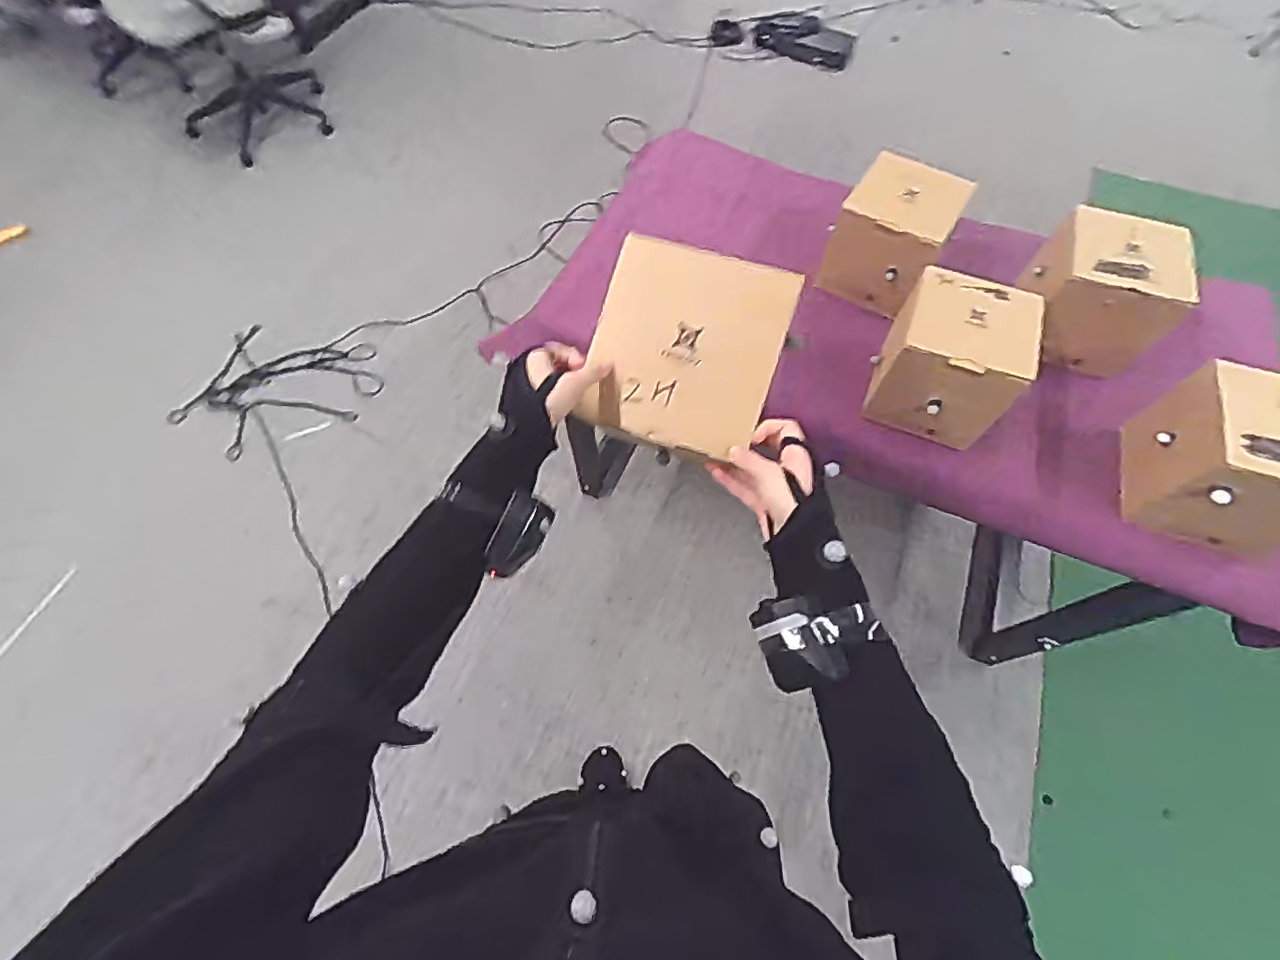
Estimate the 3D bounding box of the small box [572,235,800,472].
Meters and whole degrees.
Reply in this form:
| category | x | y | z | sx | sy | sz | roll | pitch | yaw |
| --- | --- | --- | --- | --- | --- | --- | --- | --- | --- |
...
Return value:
| category | x | y | z | sx | sy | sz | roll | pitch | yaw |
| --- | --- | --- | --- | --- | --- | --- | --- | --- | --- |
| small box | 0.052 | -0.116 | 0.563 | 0.168 | 0.176 | 0.179 | 18 | 91 | 11 |

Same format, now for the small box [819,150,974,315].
| category | x | y | z | sx | sy | sz | roll | pitch | yaw |
| --- | --- | --- | --- | --- | --- | --- | --- | --- | --- |
| small box | 0.432 | -0.422 | 0.940 | 0.168 | 0.176 | 0.179 | 31 | 67 | 15 |

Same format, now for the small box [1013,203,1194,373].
| category | x | y | z | sx | sy | sz | roll | pitch | yaw |
| --- | --- | --- | --- | --- | --- | --- | --- | --- | --- |
| small box | 0.728 | -0.303 | 0.873 | 0.168 | 0.176 | 0.179 | 20 | 63 | 10 |

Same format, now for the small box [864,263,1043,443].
| category | x | y | z | sx | sy | sz | roll | pitch | yaw |
| --- | --- | --- | --- | --- | --- | --- | --- | --- | --- |
| small box | 0.458 | -0.183 | 0.812 | 0.168 | 0.176 | 0.179 | 22 | 64 | 11 |
